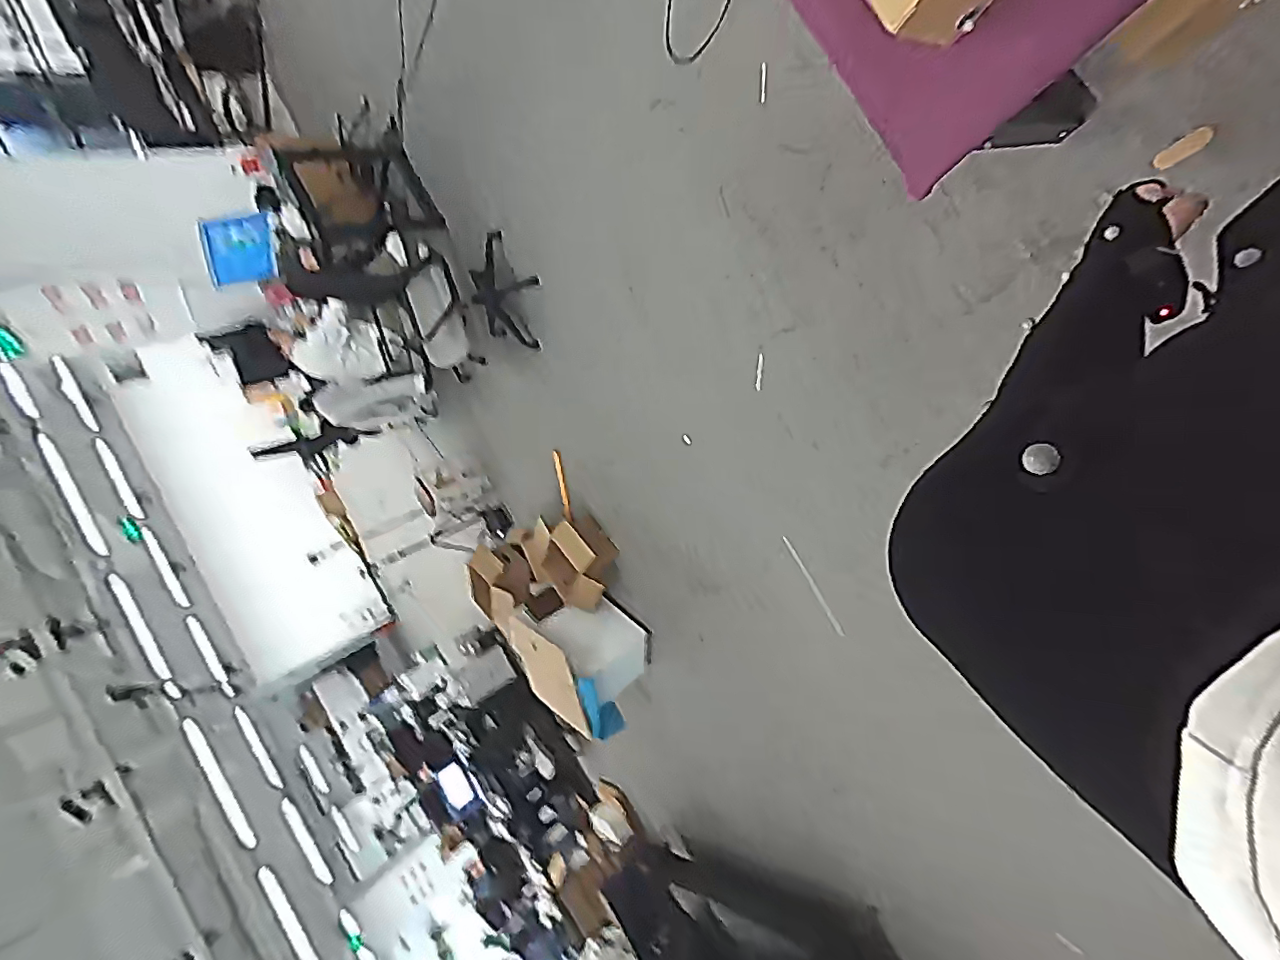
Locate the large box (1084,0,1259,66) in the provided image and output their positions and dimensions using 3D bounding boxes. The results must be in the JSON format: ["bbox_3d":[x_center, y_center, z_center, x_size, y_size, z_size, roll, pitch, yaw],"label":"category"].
[{"bbox_3d":[0.880,-0.959,0.856,0.408,0.320,0.320,60,144,6],"label":"large box"}]

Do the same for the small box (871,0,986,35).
[{"bbox_3d":[0.341,-0.638,0.598,0.179,0.176,0.168,60,145,5],"label":"small box"}]
